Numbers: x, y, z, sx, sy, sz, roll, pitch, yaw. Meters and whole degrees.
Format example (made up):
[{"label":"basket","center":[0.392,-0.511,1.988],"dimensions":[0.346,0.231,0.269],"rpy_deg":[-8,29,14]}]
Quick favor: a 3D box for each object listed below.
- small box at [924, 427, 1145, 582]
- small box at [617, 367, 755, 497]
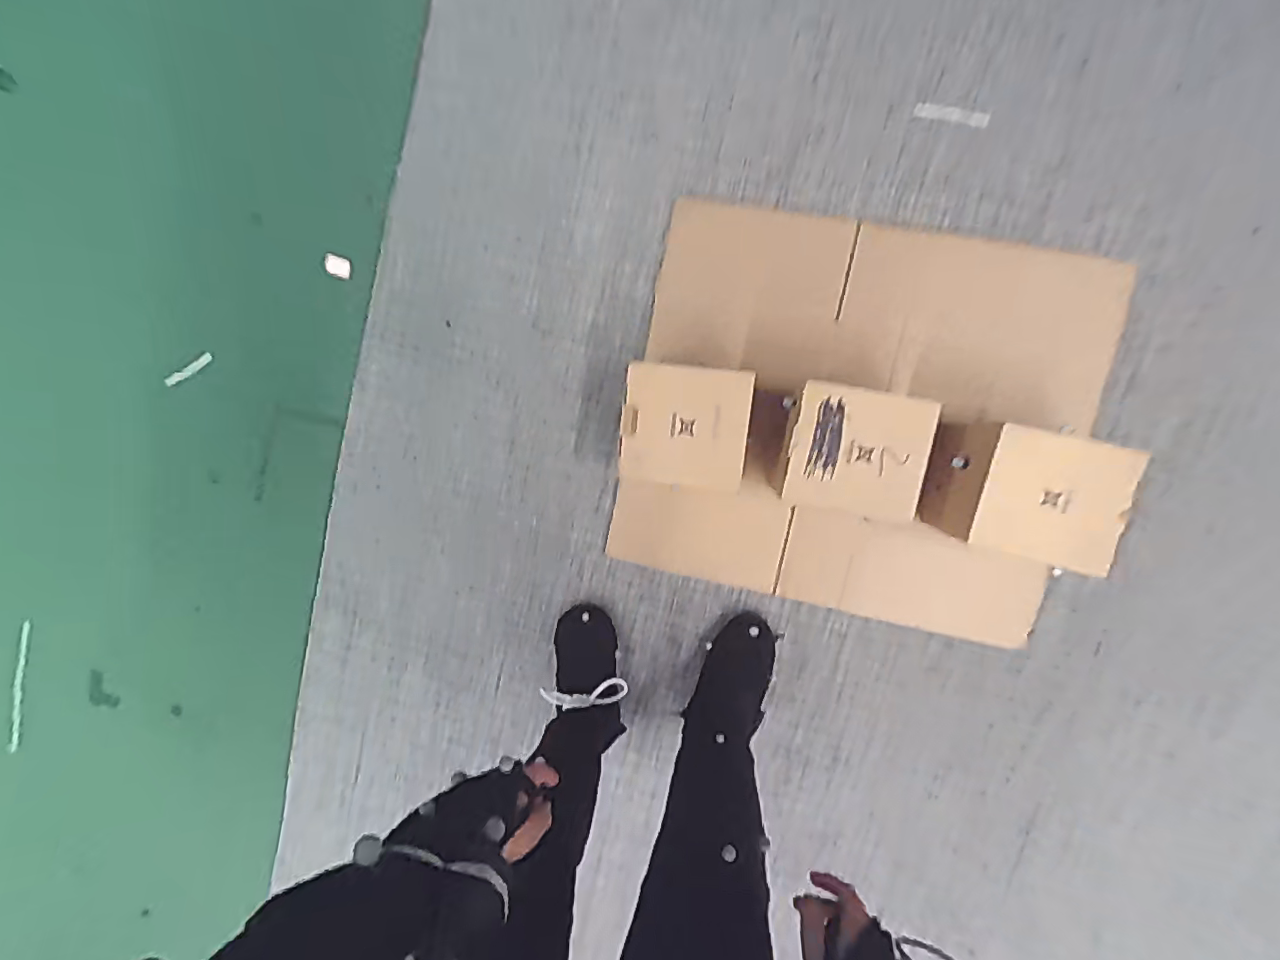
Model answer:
[{"label":"small box","center":[0.533,0.026,0.763],"dimensions":[0.179,0.176,0.168],"rpy_deg":[14,96,7]},{"label":"small box","center":[0.072,-0.074,0.825],"dimensions":[0.179,0.176,0.168],"rpy_deg":[7,97,7]}]
